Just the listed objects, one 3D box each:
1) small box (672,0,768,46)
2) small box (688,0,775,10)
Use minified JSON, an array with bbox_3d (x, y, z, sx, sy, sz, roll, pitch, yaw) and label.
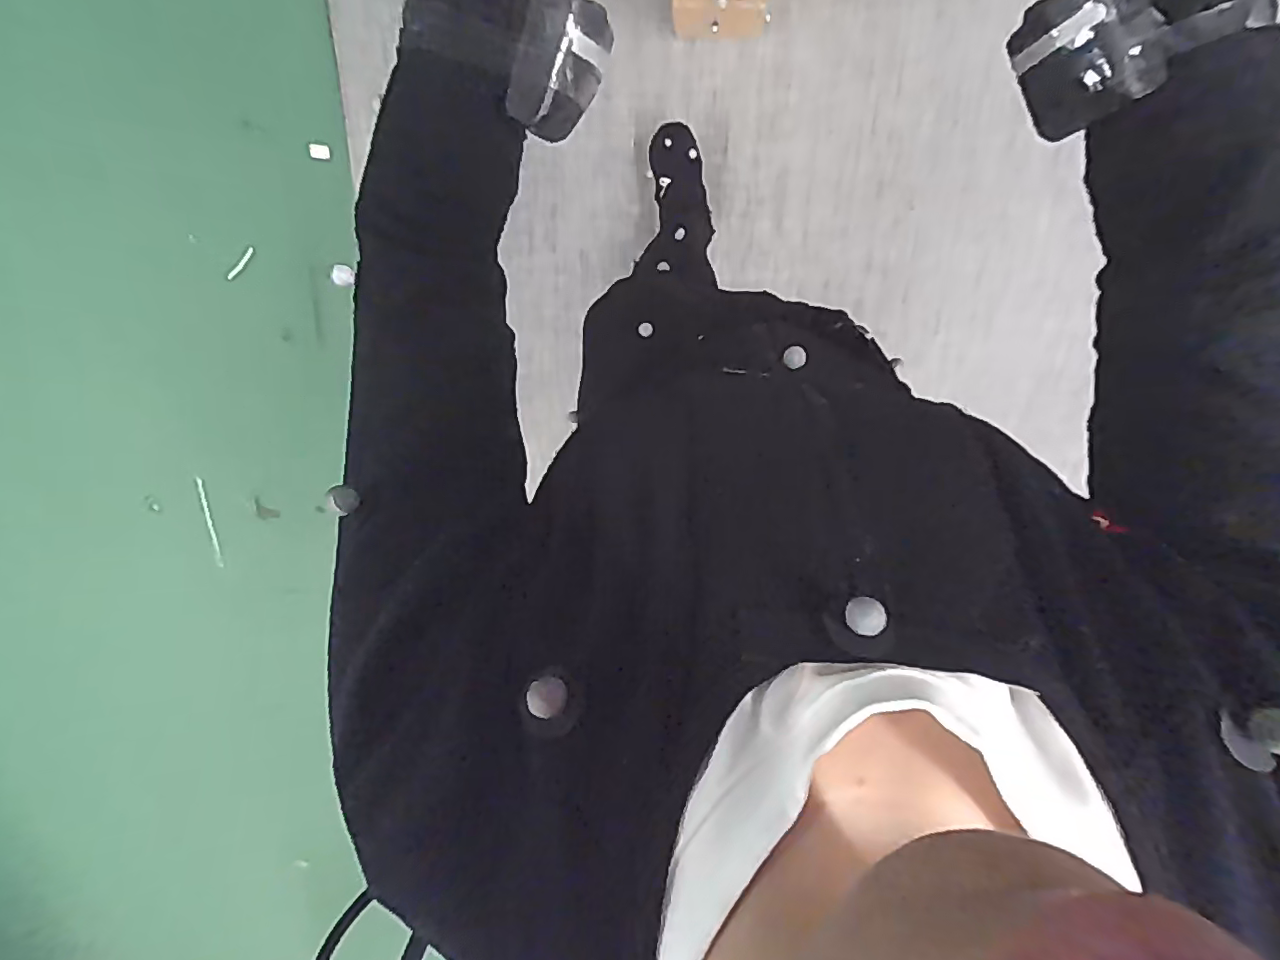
[{"bbox_3d":[0.159,-0.964,1.037,0.179,0.176,0.168,6,111,6],"label":"small box"},{"bbox_3d":[0.157,-0.913,0.883,0.168,0.176,0.179,5,112,6],"label":"small box"}]
